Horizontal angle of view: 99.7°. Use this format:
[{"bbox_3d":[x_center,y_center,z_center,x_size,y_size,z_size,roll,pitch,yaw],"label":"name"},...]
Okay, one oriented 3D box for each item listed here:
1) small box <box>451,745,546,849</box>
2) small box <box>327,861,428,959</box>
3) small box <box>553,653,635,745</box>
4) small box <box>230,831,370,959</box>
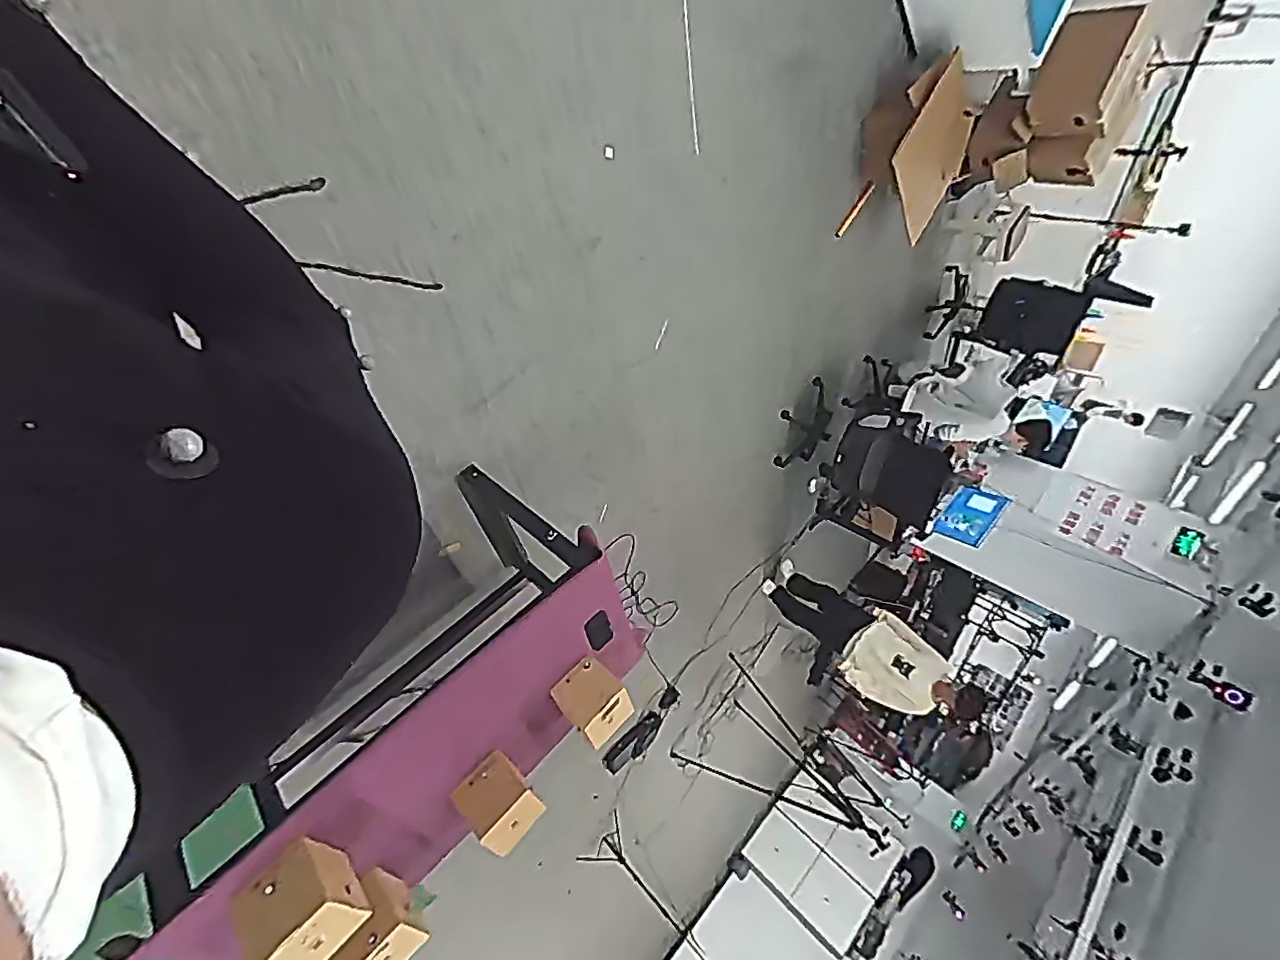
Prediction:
[{"bbox_3d":[-0.400,0.891,1.531,0.168,0.176,0.179,-40,139,-24],"label":"small box"},{"bbox_3d":[-0.676,1.111,1.368,0.168,0.176,0.179,-38,139,-26],"label":"small box"},{"bbox_3d":[-0.144,0.664,1.660,0.168,0.176,0.179,-39,140,-24],"label":"small box"},{"bbox_3d":[-0.722,0.893,1.153,0.168,0.176,0.179,-40,139,-25],"label":"small box"}]
